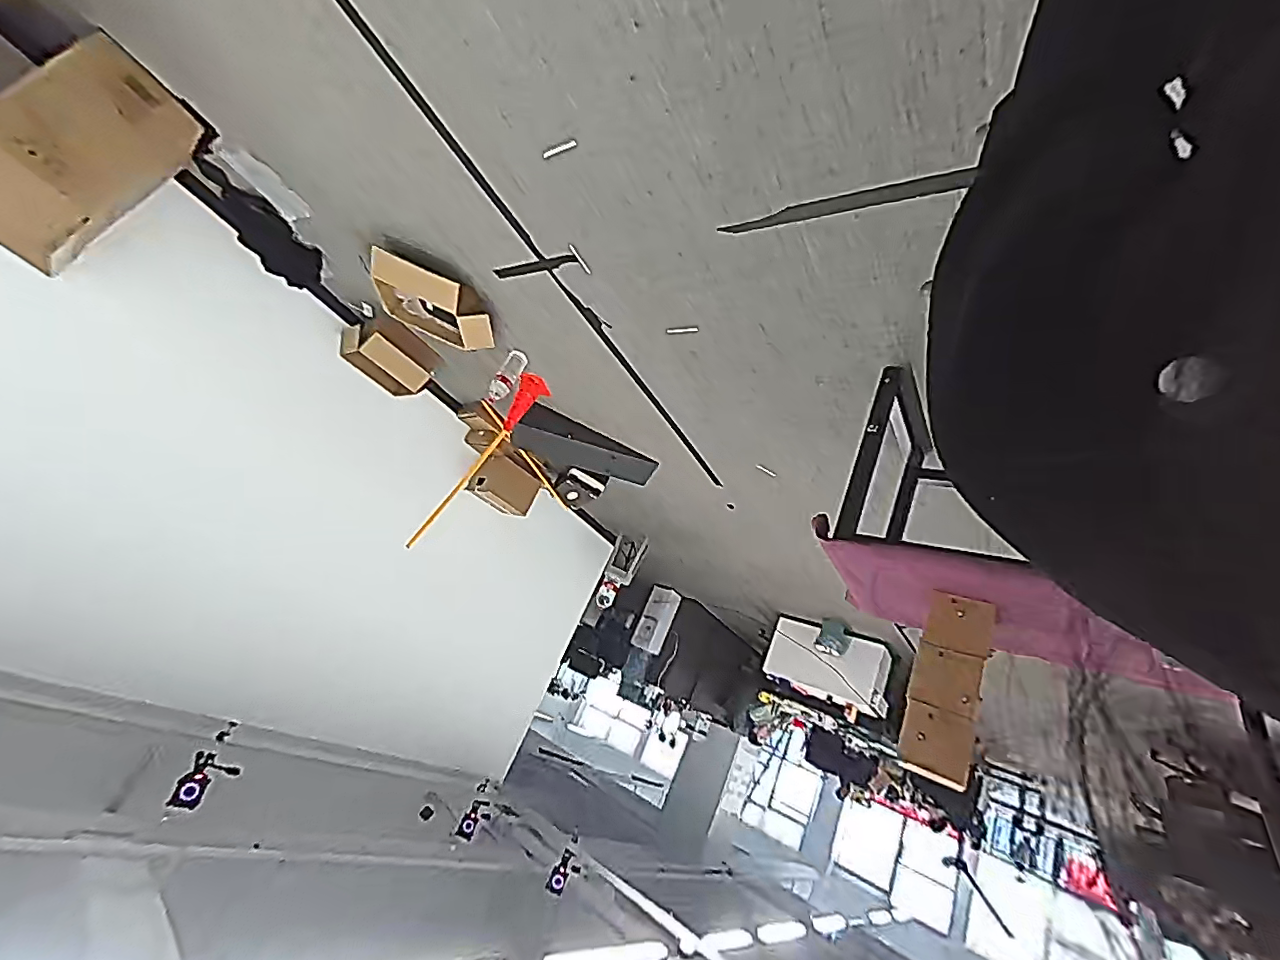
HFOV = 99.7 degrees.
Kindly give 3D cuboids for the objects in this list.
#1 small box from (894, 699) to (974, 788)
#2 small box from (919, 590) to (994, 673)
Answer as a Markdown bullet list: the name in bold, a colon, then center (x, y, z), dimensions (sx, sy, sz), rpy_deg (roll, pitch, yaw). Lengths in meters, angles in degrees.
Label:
- **small box**: center (0.812, 0.724, 1.494), dimensions (0.168, 0.176, 0.179), rpy_deg (13, 158, 33)
- **small box**: center (0.944, 0.450, 1.614), dimensions (0.168, 0.176, 0.179), rpy_deg (10, 155, 34)
